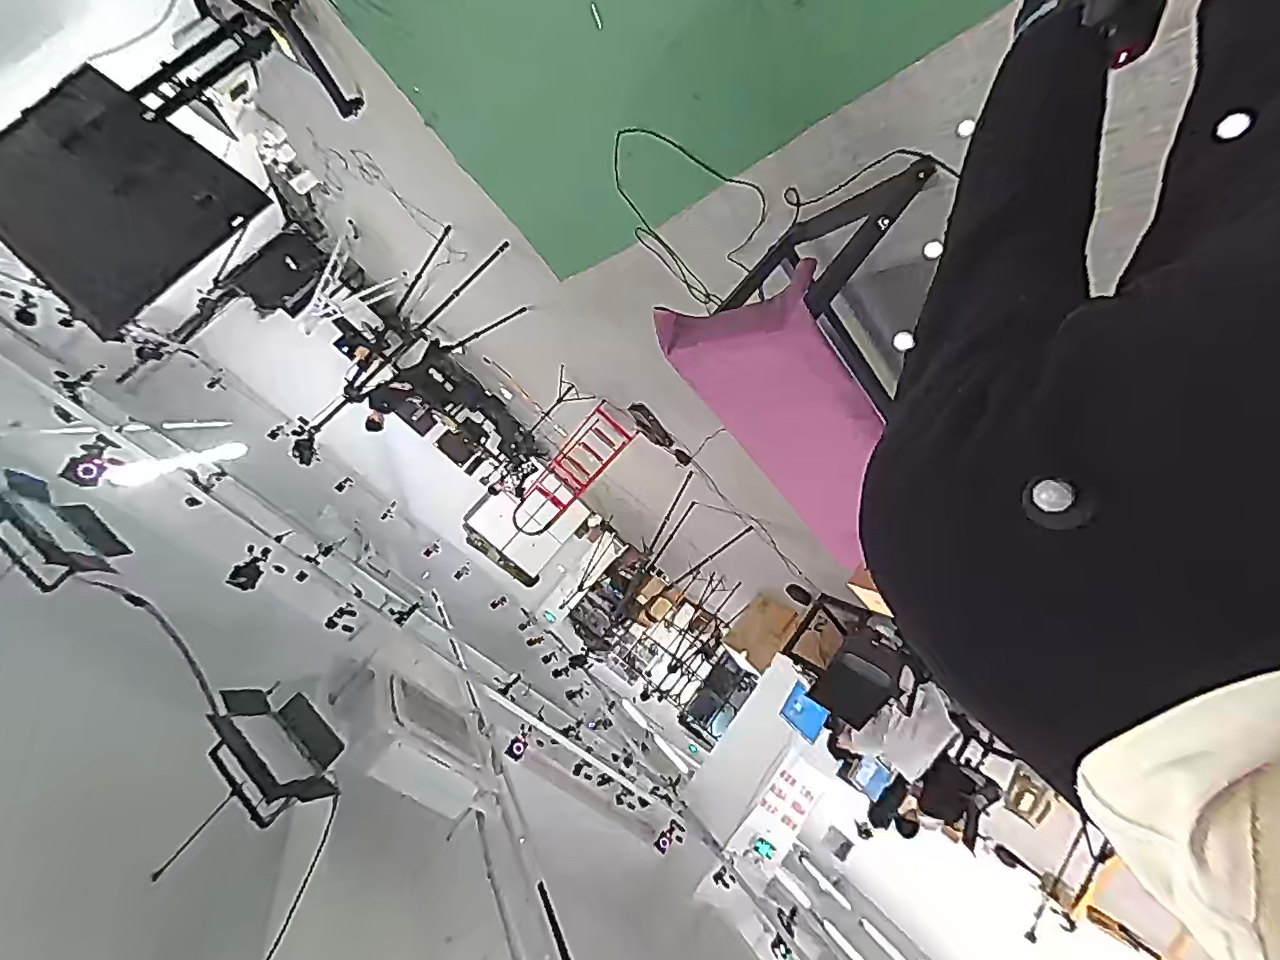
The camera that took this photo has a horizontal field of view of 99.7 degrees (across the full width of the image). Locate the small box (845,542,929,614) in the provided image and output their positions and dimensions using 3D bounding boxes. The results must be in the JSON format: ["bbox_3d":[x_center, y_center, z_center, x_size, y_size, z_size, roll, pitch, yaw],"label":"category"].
[{"bbox_3d":[0.876,0.340,1.914,0.168,0.176,0.179,44,166,-20],"label":"small box"}]
